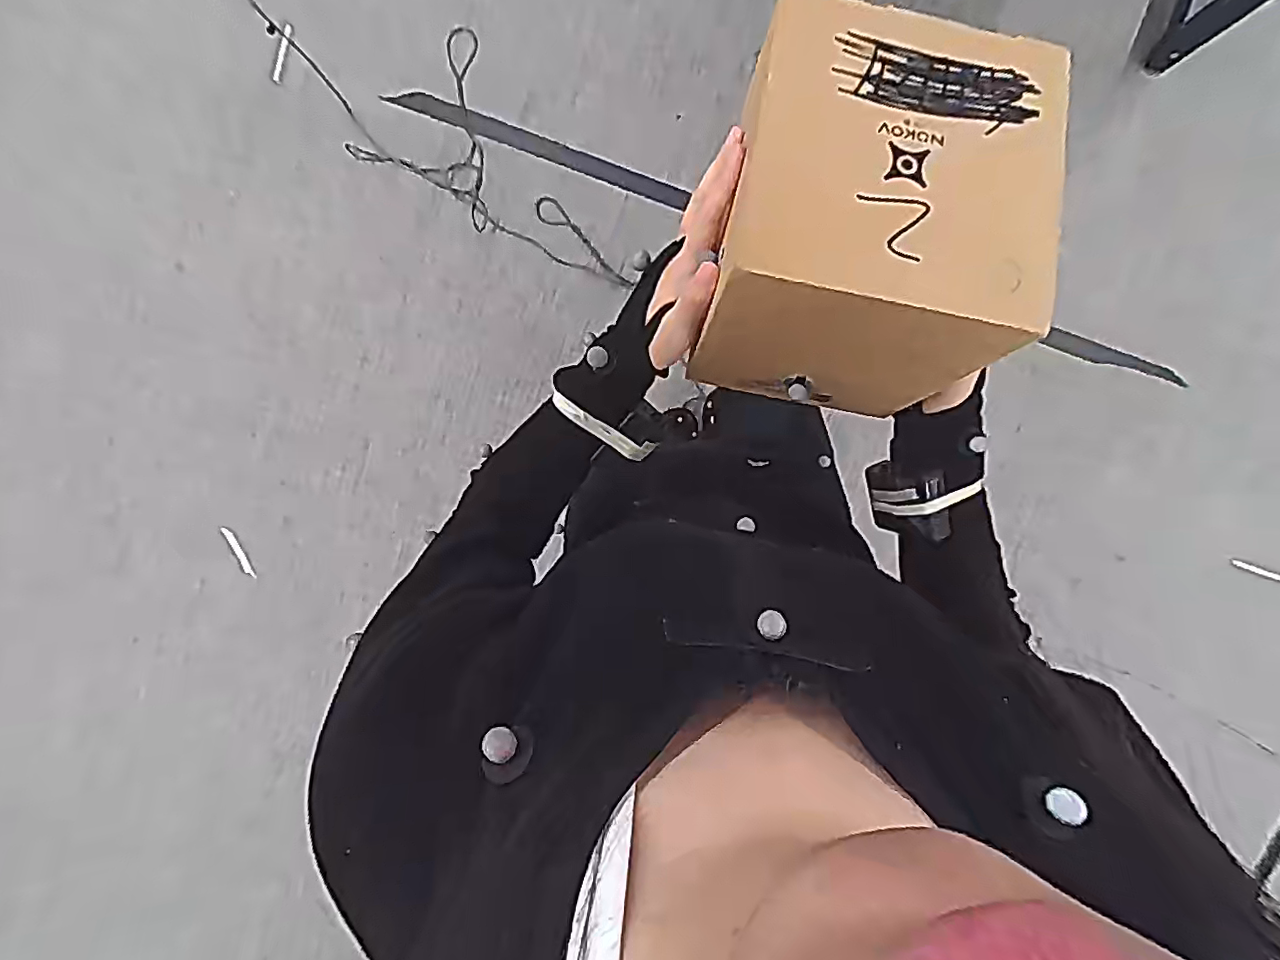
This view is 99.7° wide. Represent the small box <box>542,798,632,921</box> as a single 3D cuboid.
[{"bbox_3d":[-0.125,0.933,1.345,0.179,0.176,0.168,16,98,-1],"label":"small box"}]

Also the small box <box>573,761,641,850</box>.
[{"bbox_3d":[-0.099,0.919,1.510,0.179,0.176,0.168,12,97,-2],"label":"small box"}]
